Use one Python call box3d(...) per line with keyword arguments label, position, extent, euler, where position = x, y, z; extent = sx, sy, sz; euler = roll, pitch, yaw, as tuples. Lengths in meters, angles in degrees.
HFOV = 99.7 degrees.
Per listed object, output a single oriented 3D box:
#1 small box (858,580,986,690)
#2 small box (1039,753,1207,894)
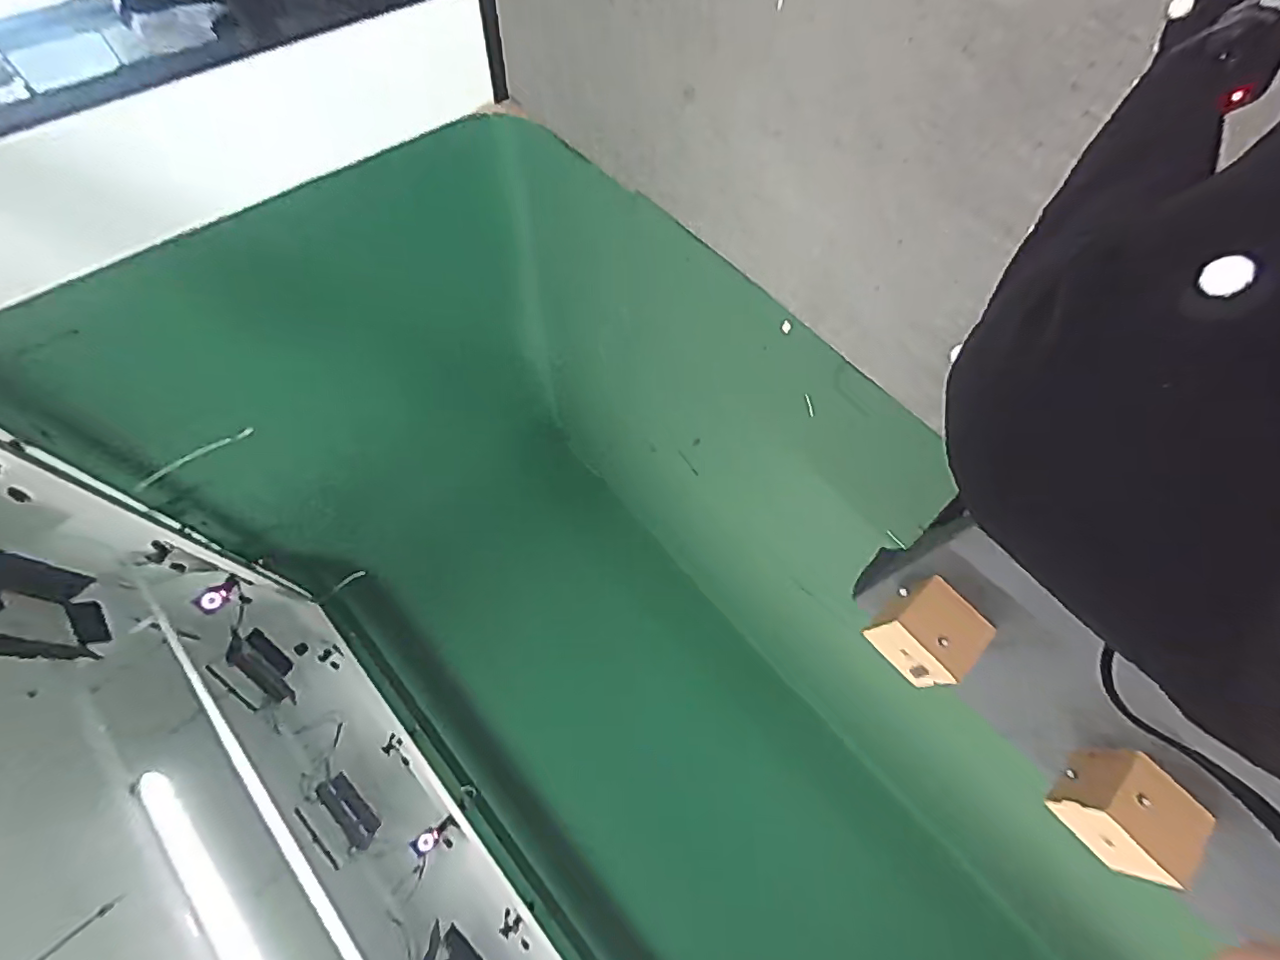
box3d(label="small box", position=(0.667, 0.368, 1.280), extent=(0.179, 0.176, 0.168), euler=(47, 158, 13))
box3d(label="small box", position=(1.009, 0.704, 1.136), extent=(0.179, 0.176, 0.168), euler=(45, 159, 14))
